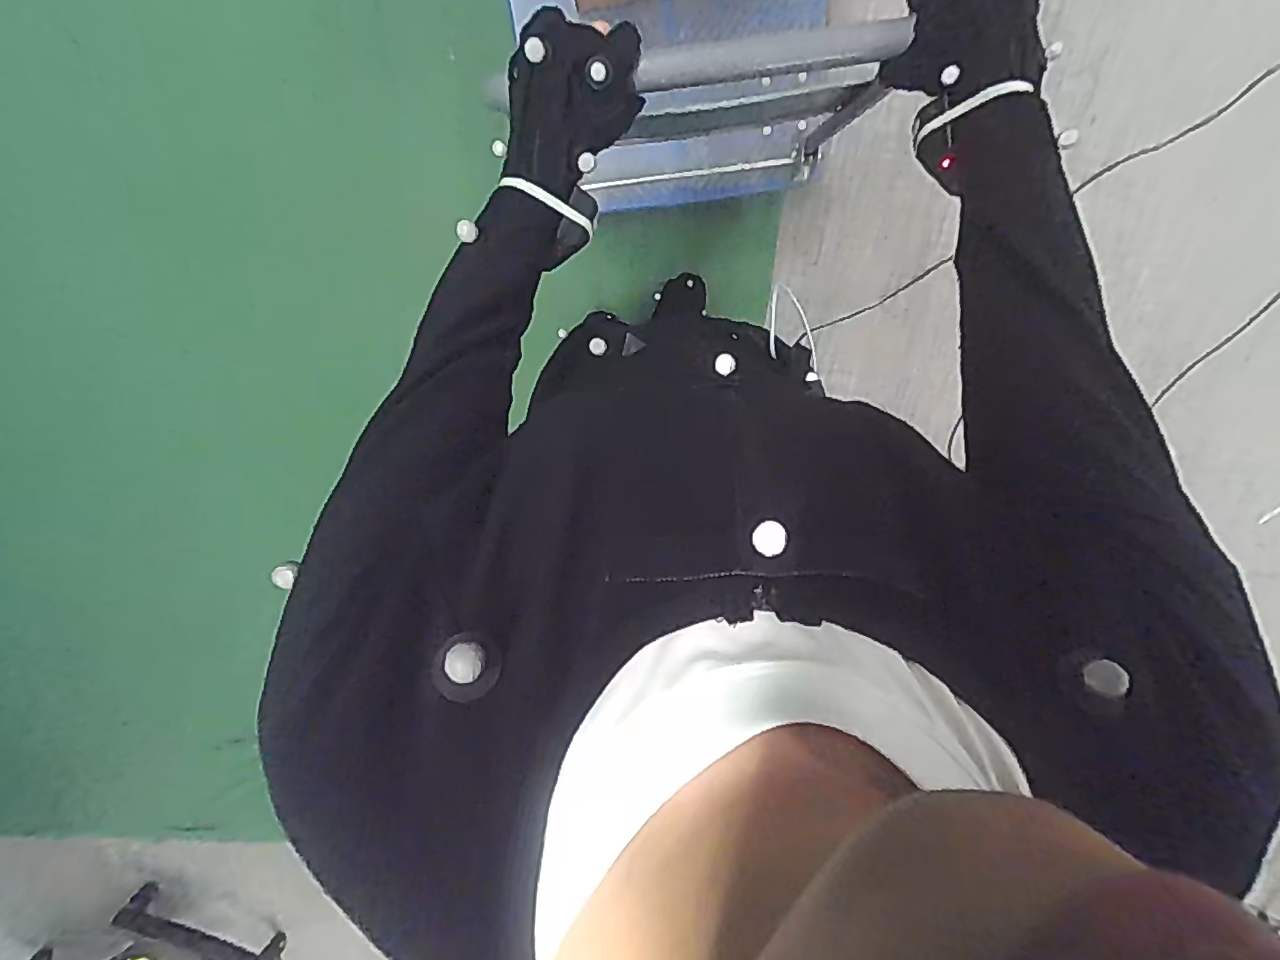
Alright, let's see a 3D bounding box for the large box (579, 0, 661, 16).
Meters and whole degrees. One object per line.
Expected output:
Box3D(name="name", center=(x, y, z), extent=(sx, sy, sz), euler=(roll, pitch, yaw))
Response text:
Box3D(name="large box", center=(0.066, -0.965, 0.795), extent=(0.408, 0.320, 0.320), euler=(-9, 113, 3))
